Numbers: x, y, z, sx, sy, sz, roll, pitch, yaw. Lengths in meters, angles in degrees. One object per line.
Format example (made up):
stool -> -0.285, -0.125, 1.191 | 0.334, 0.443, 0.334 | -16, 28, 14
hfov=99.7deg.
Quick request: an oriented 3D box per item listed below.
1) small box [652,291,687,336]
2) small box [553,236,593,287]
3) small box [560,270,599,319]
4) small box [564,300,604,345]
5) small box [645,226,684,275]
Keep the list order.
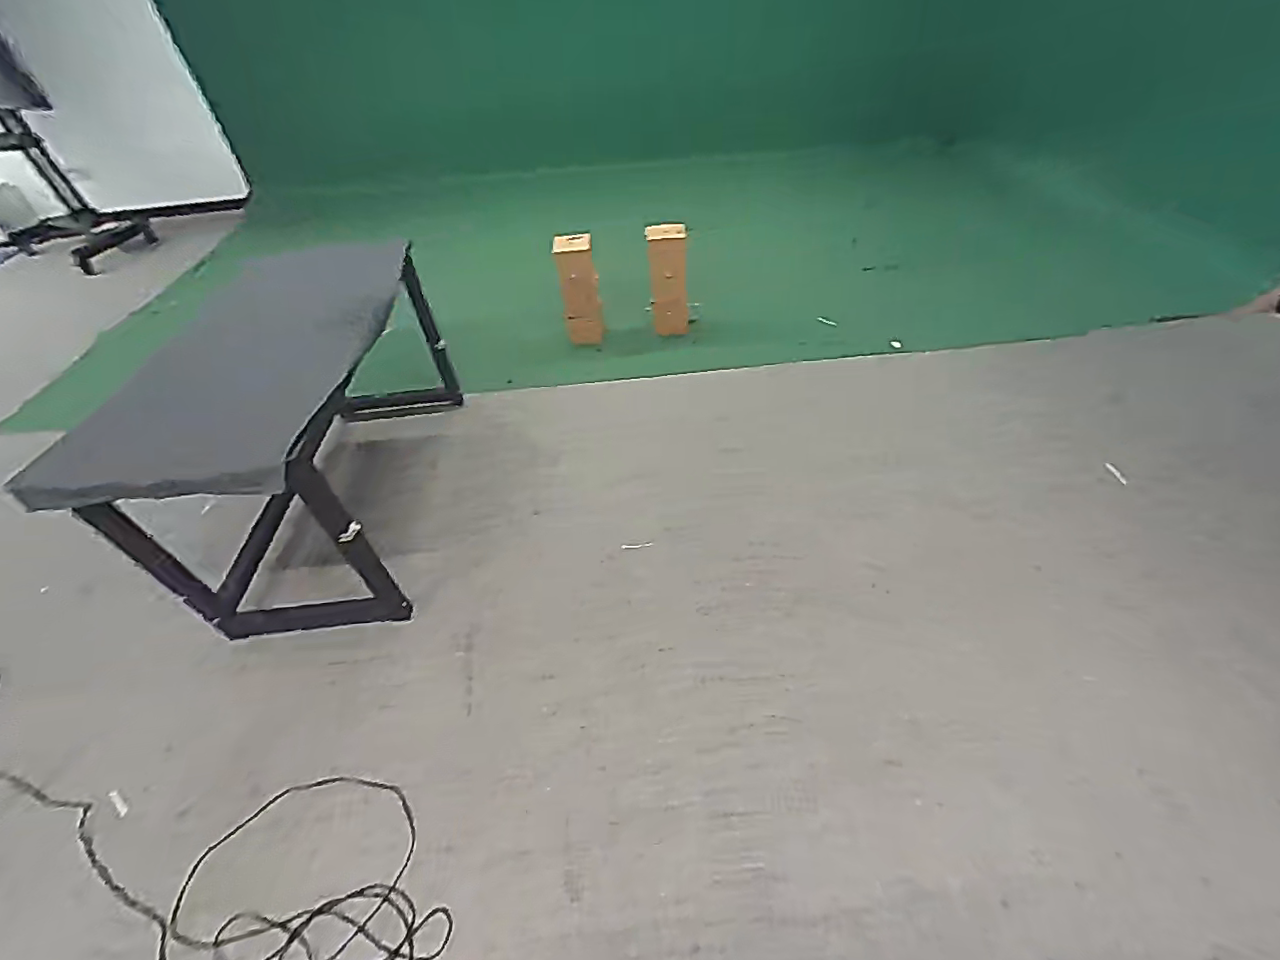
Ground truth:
small box -> 0.153, -0.867, 2.821 | 0.179, 0.176, 0.168 | -3, 46, 3
small box -> -0.317, -1.040, 2.574 | 0.168, 0.176, 0.179 | -5, 46, 0
small box -> -0.298, -0.922, 2.689 | 0.179, 0.176, 0.168 | -8, 45, -1
small box -> -0.287, -0.818, 2.812 | 0.179, 0.176, 0.168 | -2, 45, 4
small box -> 0.119, -1.096, 2.588 | 0.179, 0.176, 0.168 | -4, 45, 2
